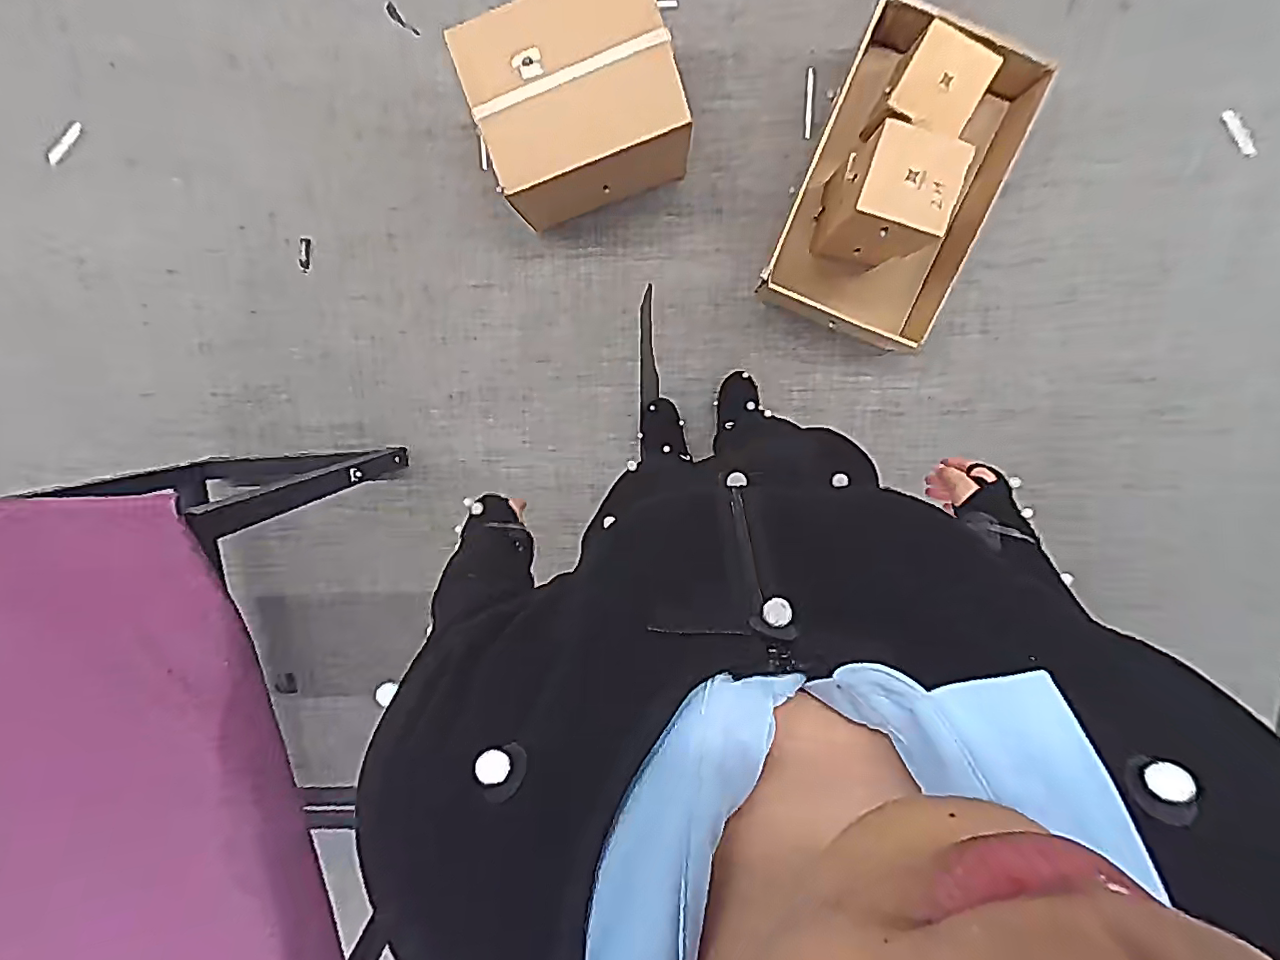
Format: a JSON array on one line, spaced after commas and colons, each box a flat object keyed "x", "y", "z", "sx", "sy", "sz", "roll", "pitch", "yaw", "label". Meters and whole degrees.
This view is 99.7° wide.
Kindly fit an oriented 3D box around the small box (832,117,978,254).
[{"x": 0.505, "y": -0.564, "z": 1.062, "sx": 0.179, "sy": 0.176, "sz": 0.168, "roll": 17, "pitch": 100, "yaw": -2, "label": "small box"}]

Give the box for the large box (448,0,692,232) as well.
[{"x": -0.127, "y": -0.802, "z": 1.187, "sx": 0.408, "sy": 0.320, "sz": 0.320, "roll": -19, "pitch": 100, "yaw": 7, "label": "large box"}]
